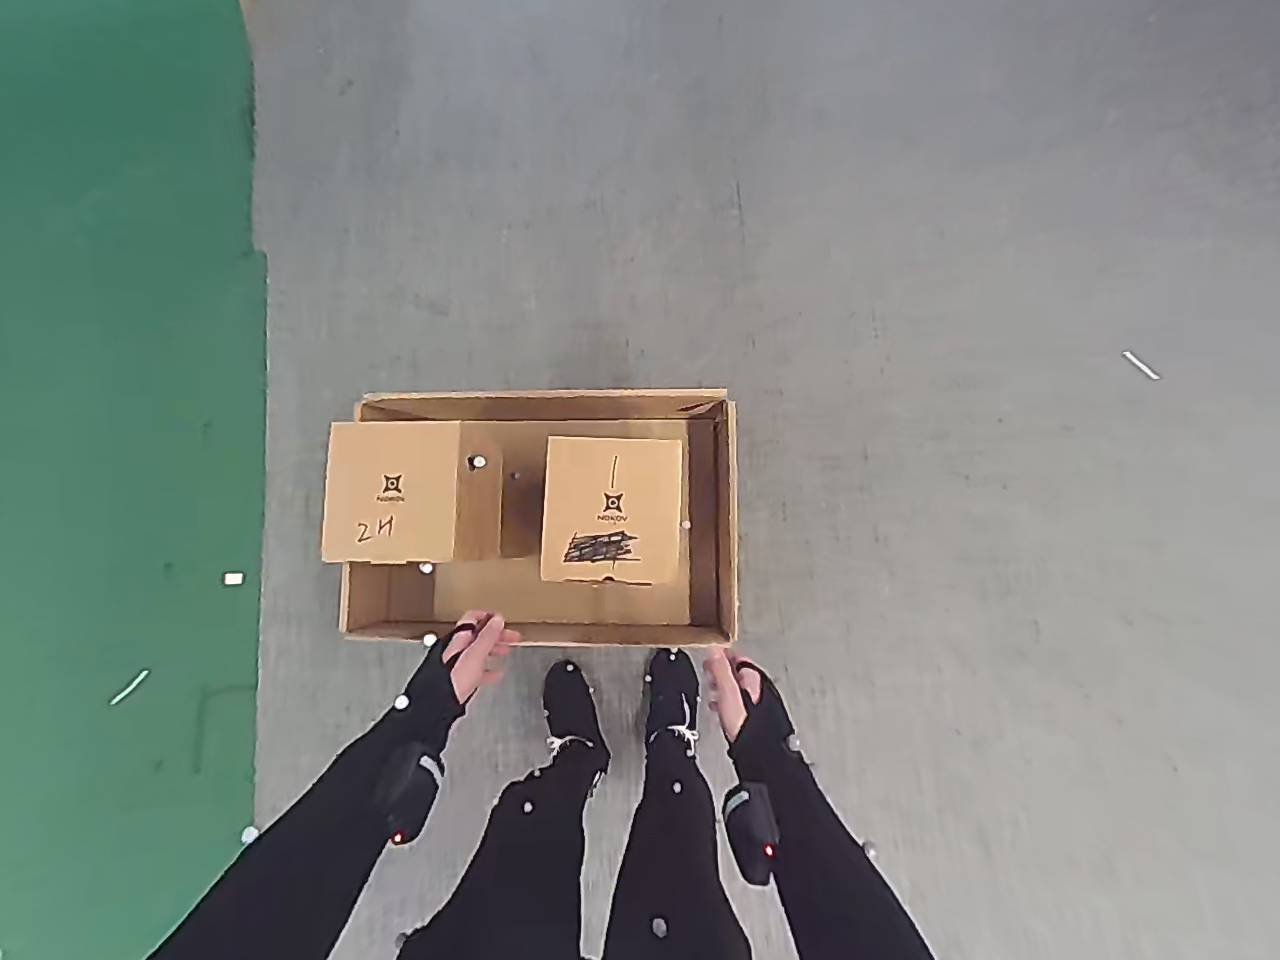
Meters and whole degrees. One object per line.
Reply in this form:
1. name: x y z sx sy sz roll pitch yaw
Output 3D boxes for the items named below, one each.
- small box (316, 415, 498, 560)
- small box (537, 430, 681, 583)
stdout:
1. small box: -0.298 0.018 0.728 0.168 0.176 0.179 0 83 3
2. small box: -0.032 0.038 0.715 0.168 0.176 0.179 2 83 3
